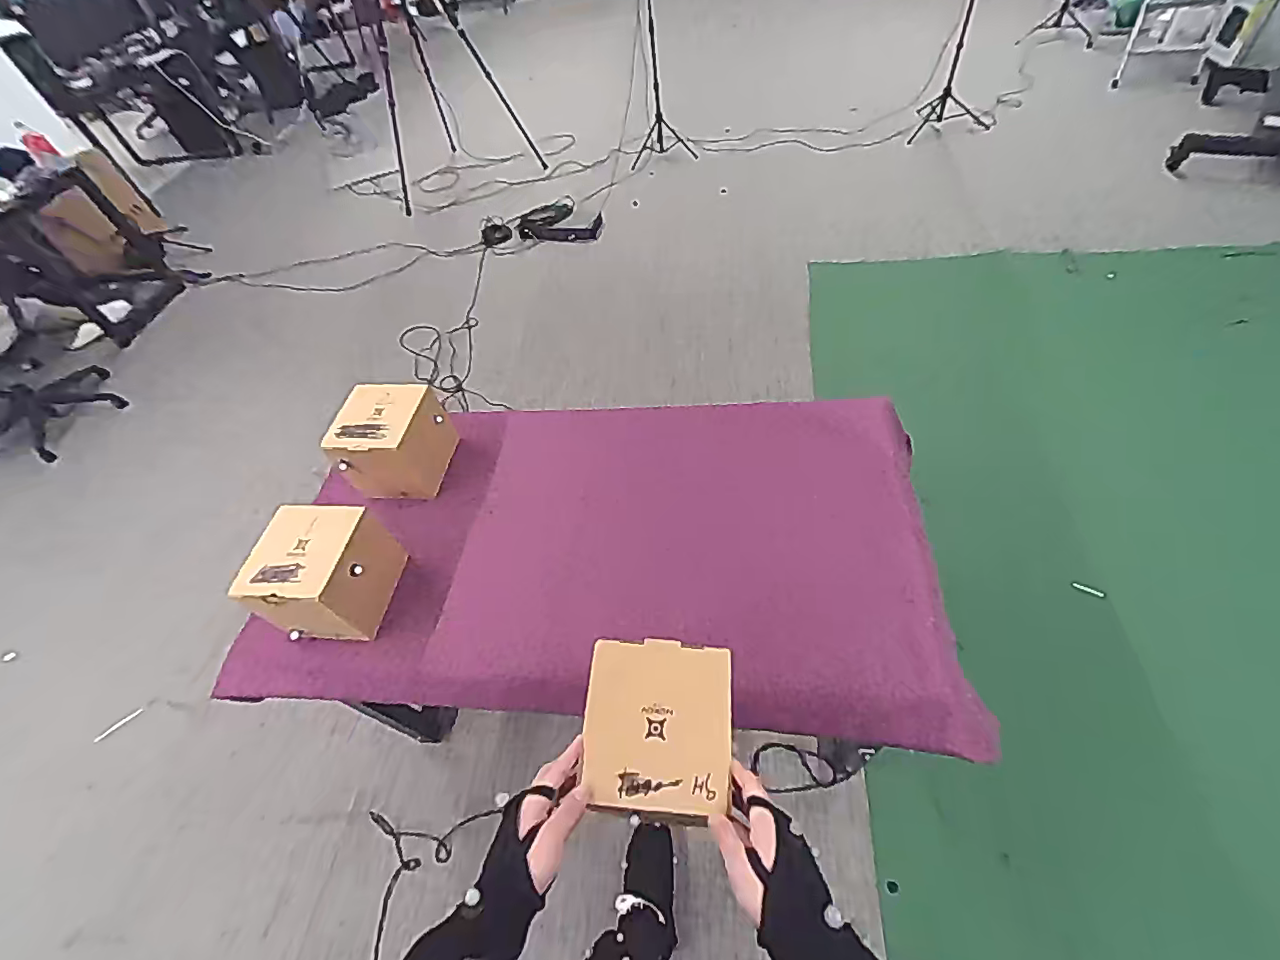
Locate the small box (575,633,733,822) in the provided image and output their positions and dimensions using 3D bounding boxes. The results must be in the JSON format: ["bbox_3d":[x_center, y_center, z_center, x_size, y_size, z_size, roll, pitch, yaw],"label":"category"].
[{"bbox_3d":[0.025,0.308,0.670,0.168,0.176,0.179,3,55,6],"label":"small box"}]

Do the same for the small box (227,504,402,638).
[{"bbox_3d":[-0.546,0.161,0.940,0.168,0.176,0.179,1,52,8],"label":"small box"}]
